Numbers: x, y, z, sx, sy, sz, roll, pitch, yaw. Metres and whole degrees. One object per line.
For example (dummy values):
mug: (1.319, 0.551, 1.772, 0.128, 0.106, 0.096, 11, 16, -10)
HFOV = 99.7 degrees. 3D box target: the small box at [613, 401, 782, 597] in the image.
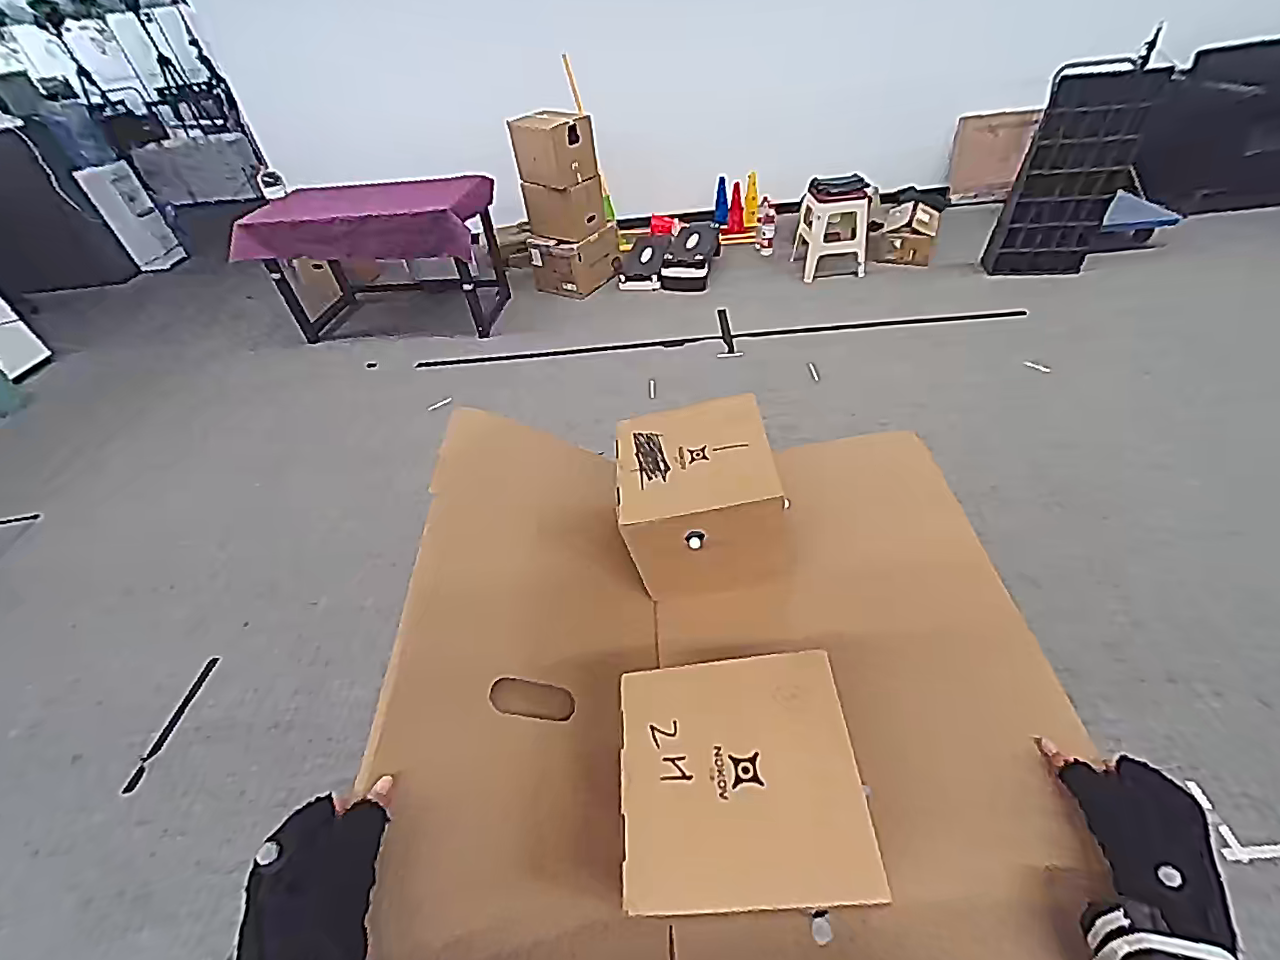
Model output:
small box: (0.072, 0.031, 0.680, 0.179, 0.176, 0.168, -11, 48, 8)

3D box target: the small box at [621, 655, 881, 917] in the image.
small box: (0.088, 0.270, 0.470, 0.179, 0.176, 0.168, -11, 48, 10)
